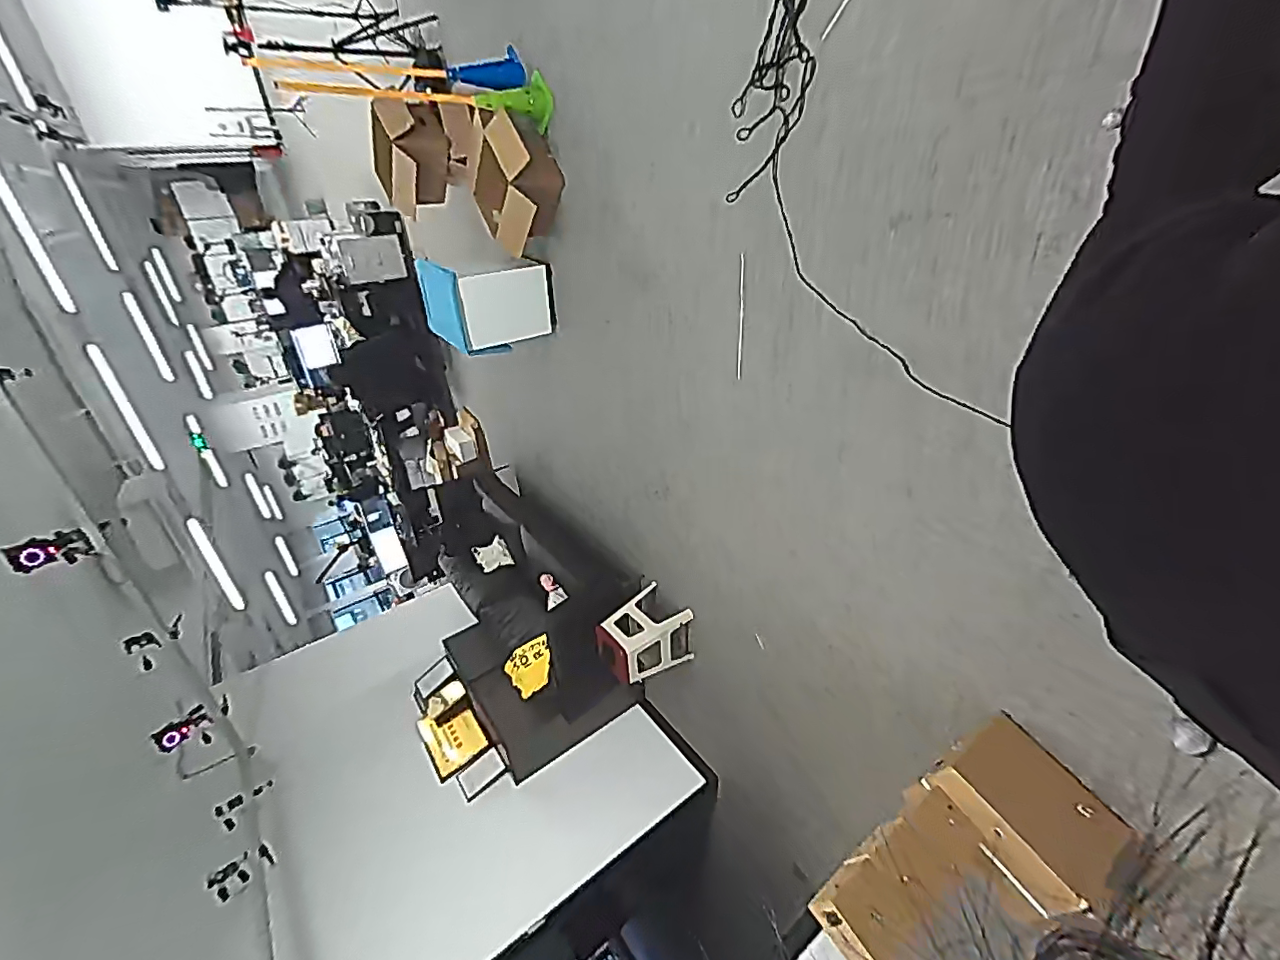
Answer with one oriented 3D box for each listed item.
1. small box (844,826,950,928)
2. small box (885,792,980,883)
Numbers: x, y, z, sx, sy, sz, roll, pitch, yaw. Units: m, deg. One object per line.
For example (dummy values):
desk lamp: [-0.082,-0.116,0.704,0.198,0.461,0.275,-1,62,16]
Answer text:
small box: [0.730,1.121,1.538,0.179,0.176,0.168,49,147,29]
small box: [0.866,1.072,1.611,0.168,0.176,0.179,48,146,31]
